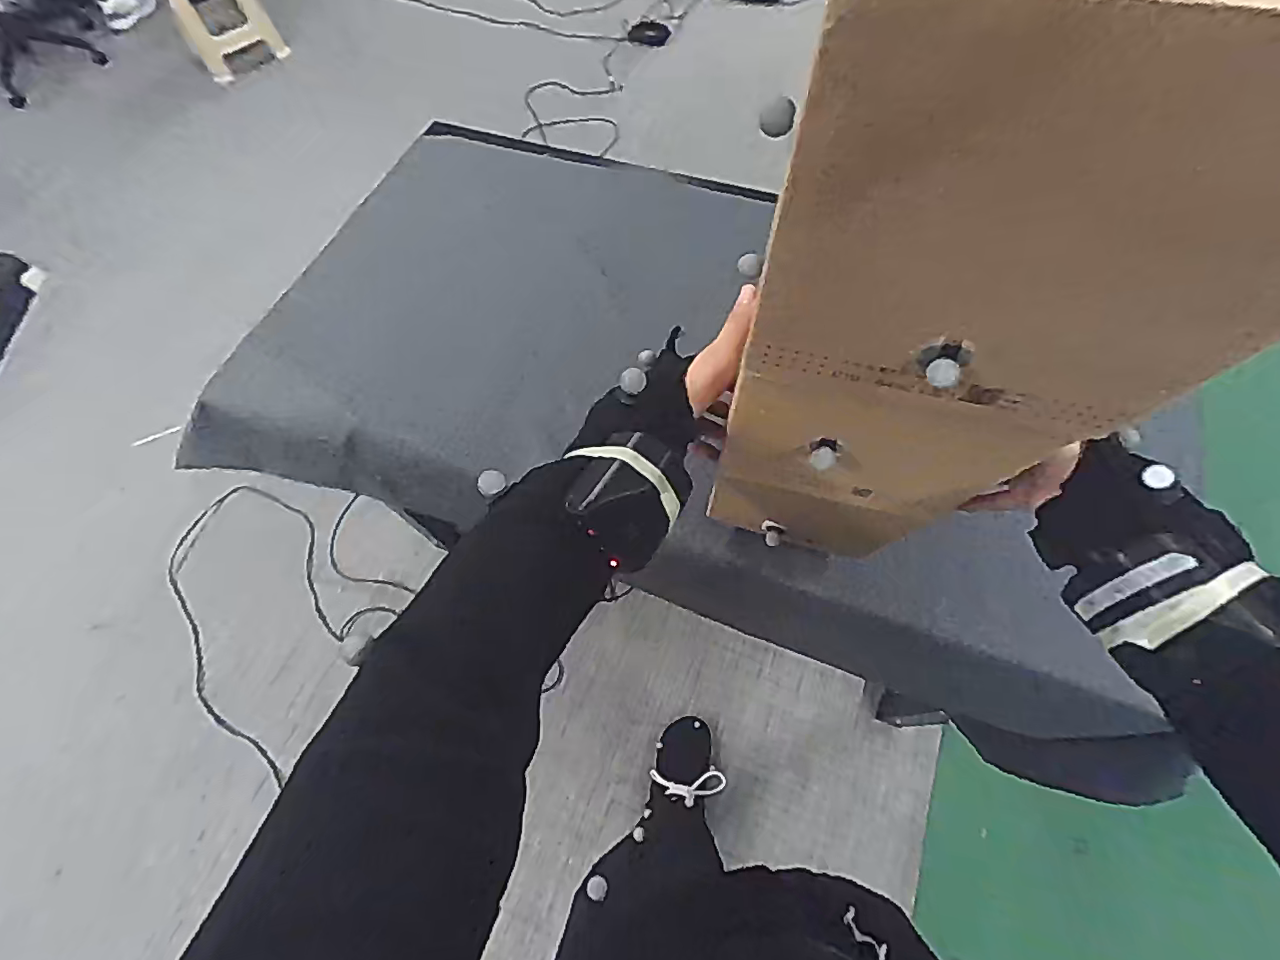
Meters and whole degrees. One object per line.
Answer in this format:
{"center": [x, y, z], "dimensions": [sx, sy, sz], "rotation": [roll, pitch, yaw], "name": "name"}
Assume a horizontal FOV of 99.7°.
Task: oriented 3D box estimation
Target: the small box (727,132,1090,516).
{"center": [0.158, -0.089, 0.368], "dimensions": [0.168, 0.176, 0.179], "rotation": [13, 71, 8], "name": "small box"}

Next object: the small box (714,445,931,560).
{"center": [0.172, -0.039, 0.522], "dimensions": [0.168, 0.176, 0.179], "rotation": [15, 73, 9], "name": "small box"}
